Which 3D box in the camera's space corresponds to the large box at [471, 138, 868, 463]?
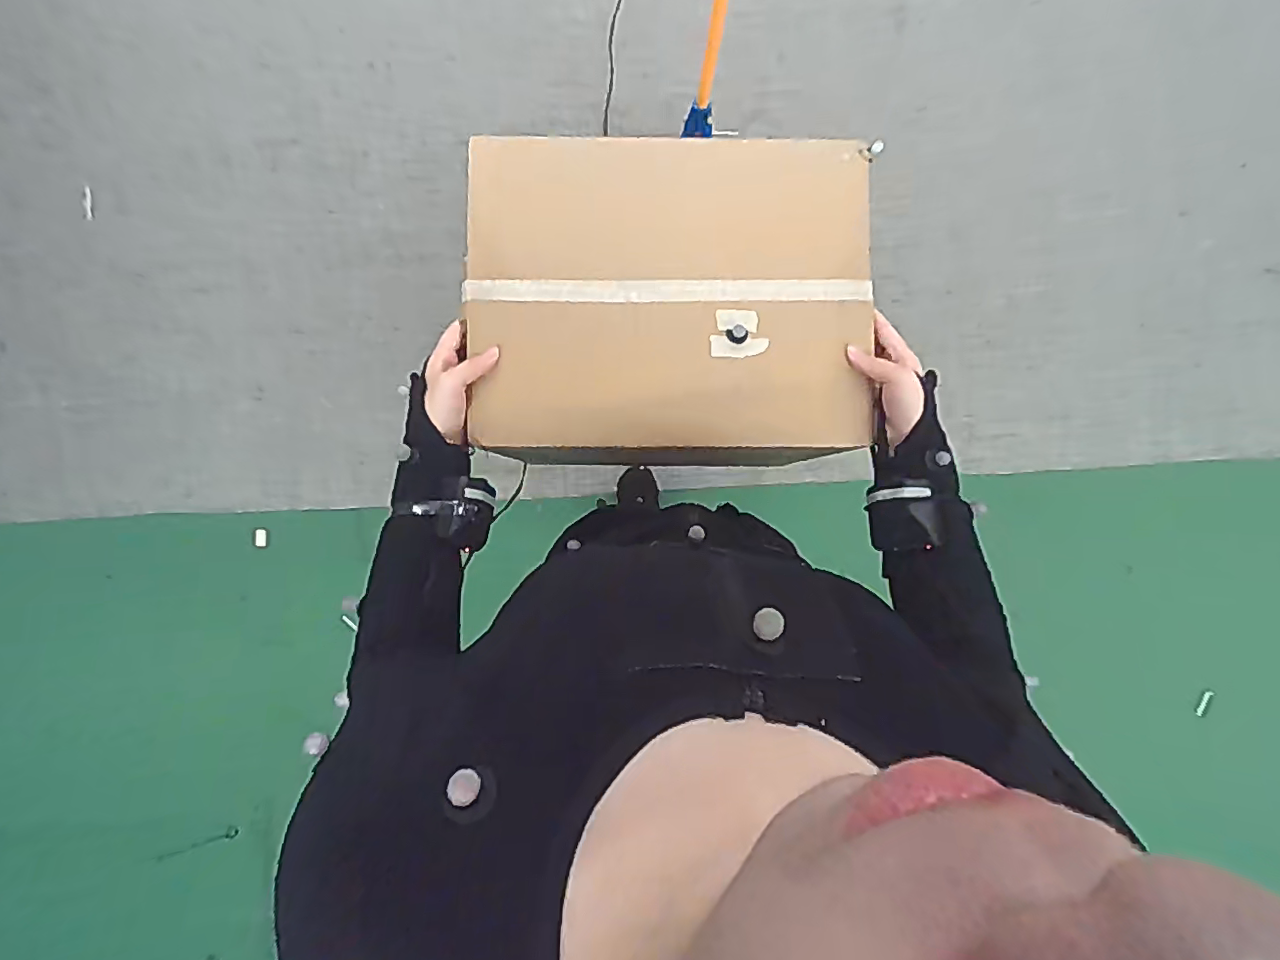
[{"bbox_3d":[0.024,-0.190,0.694,0.408,0.320,0.320,-1,89,-2],"label":"large box"}]
